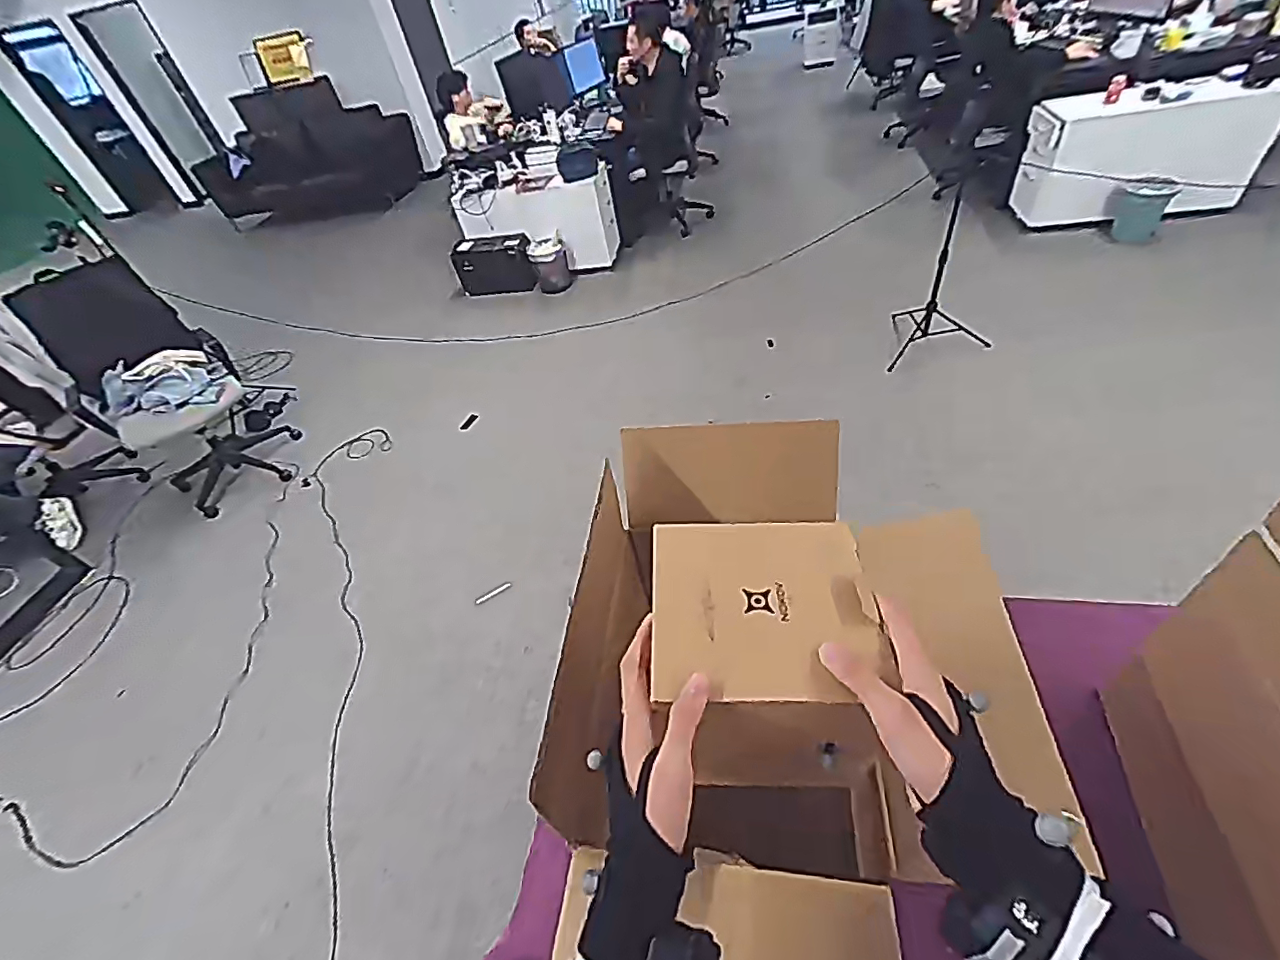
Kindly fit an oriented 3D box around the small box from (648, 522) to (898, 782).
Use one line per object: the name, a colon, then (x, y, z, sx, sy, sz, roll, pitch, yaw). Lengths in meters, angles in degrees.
small box: (0.101, 0.154, 0.488, 0.179, 0.176, 0.168, -2, 42, 5)
